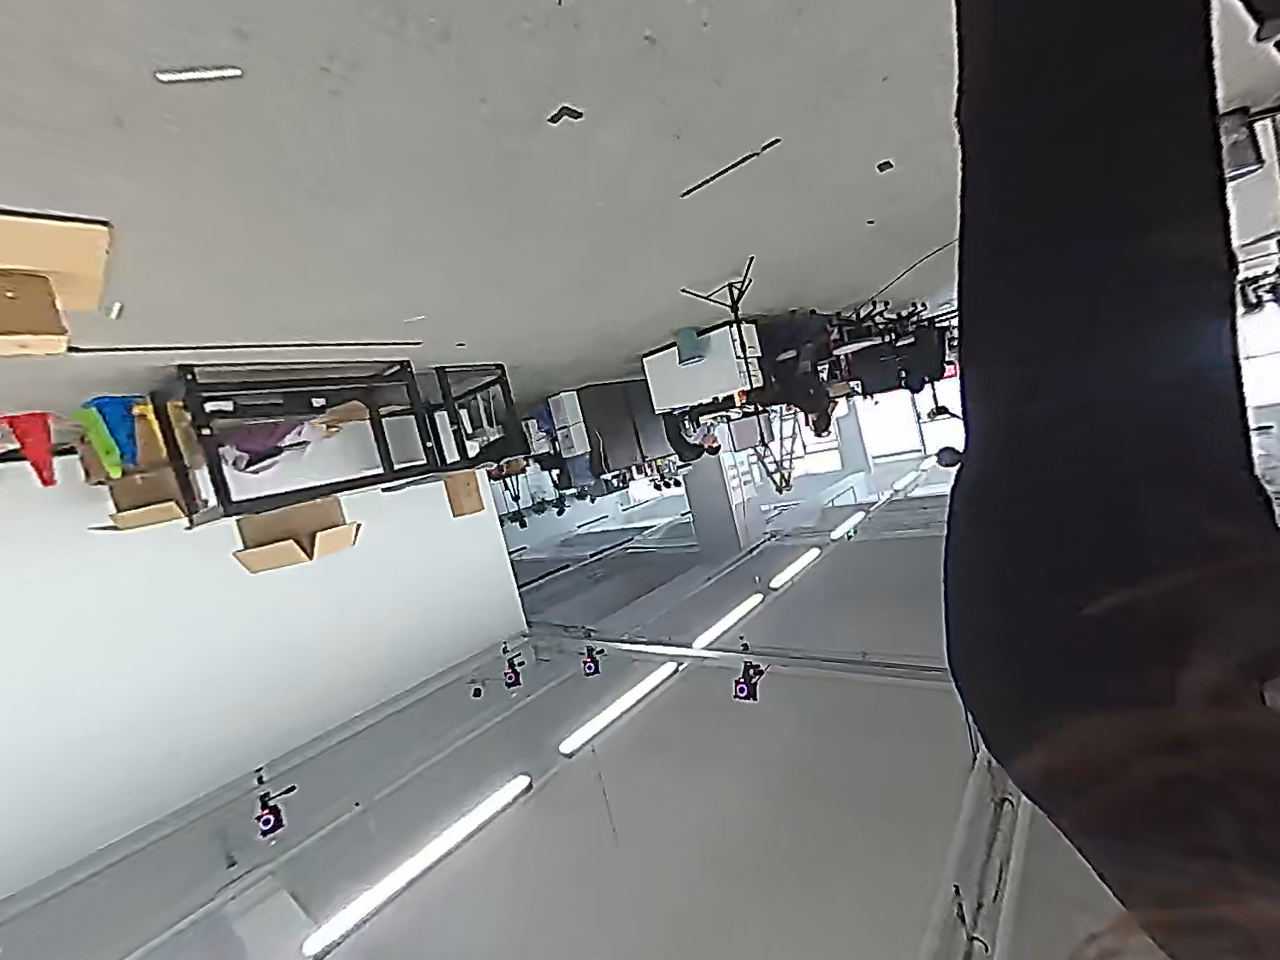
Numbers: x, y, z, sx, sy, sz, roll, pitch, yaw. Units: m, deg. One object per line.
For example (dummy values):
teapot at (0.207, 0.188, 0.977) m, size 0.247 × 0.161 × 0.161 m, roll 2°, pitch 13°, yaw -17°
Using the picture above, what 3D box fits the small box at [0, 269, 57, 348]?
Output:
small box at (-1.750, -0.470, 1.487) m, size 0.179 × 0.176 × 0.168 m, roll -10°, pitch -174°, yaw 42°
